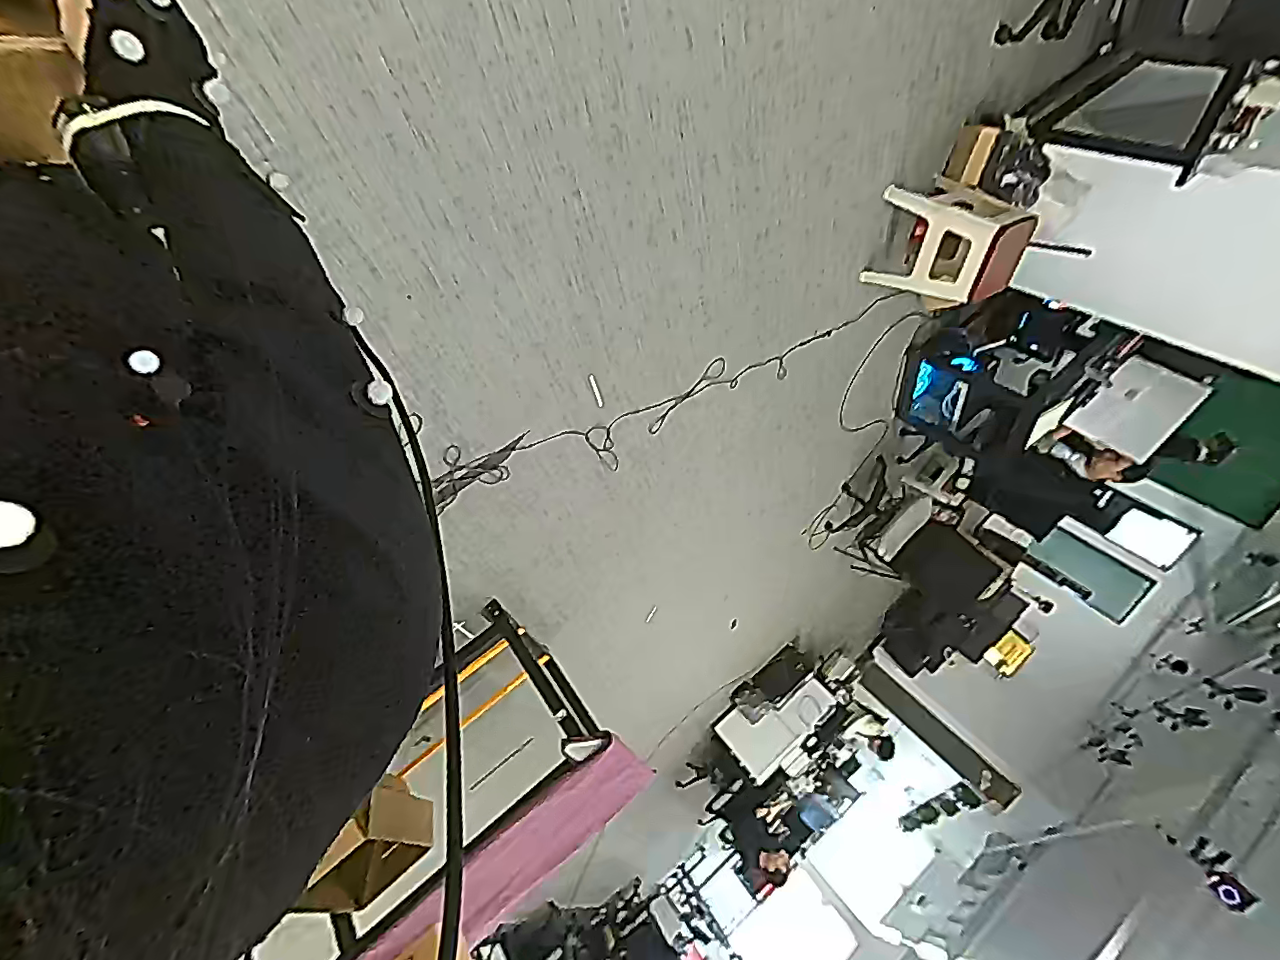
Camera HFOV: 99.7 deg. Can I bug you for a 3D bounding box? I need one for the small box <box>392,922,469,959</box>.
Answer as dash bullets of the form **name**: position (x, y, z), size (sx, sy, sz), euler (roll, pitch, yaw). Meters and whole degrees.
- **small box**: position (-0.623, 1.467, 1.604), size (0.179, 0.176, 0.168), euler (-37, 144, -16)
